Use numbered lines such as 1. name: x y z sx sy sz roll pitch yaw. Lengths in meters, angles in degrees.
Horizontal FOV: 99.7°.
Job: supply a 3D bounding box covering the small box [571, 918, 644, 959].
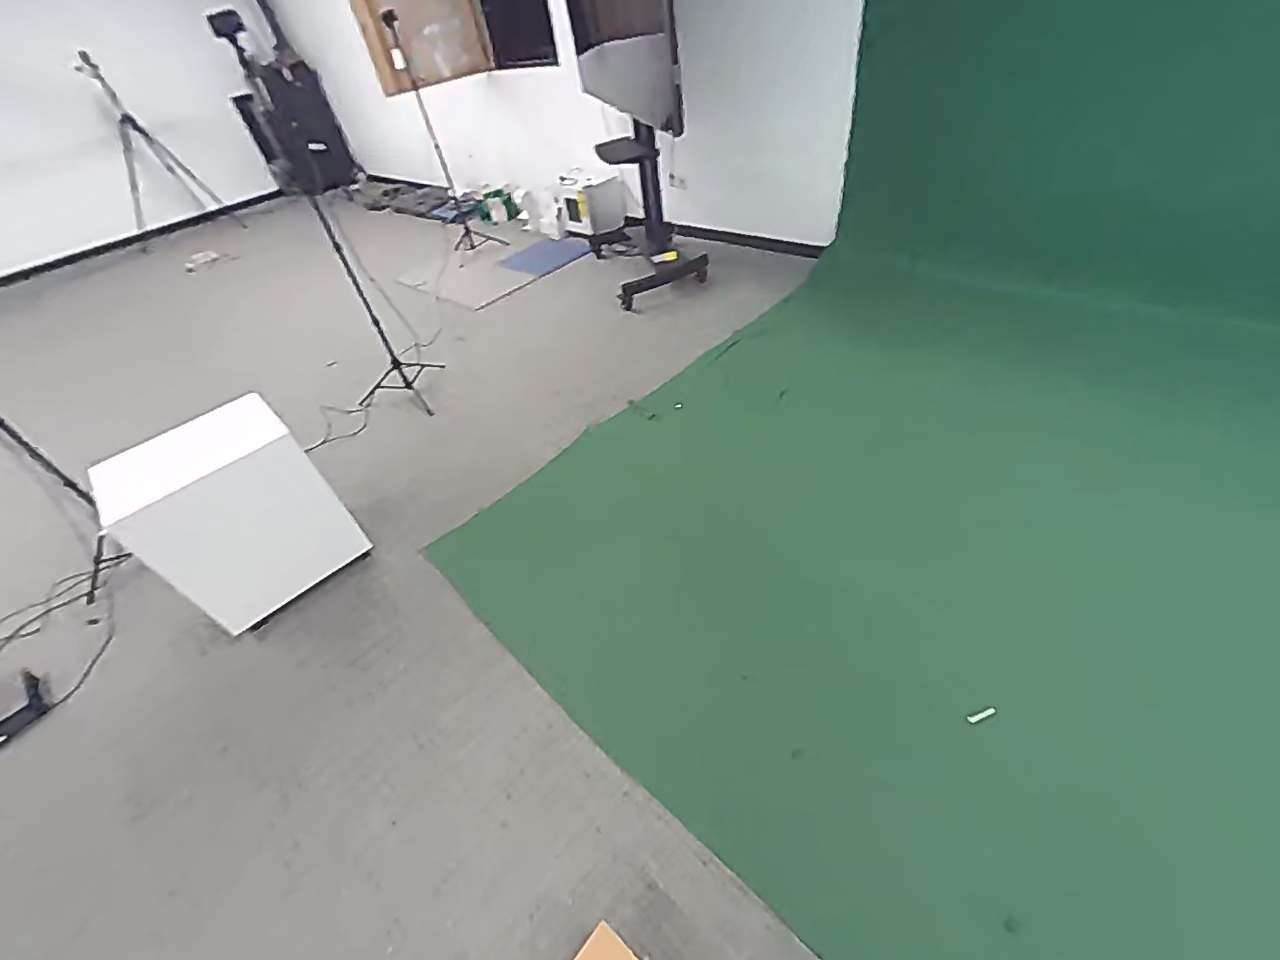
1. small box: -0.052 0.991 1.028 0.179 0.176 0.168 27 54 34
